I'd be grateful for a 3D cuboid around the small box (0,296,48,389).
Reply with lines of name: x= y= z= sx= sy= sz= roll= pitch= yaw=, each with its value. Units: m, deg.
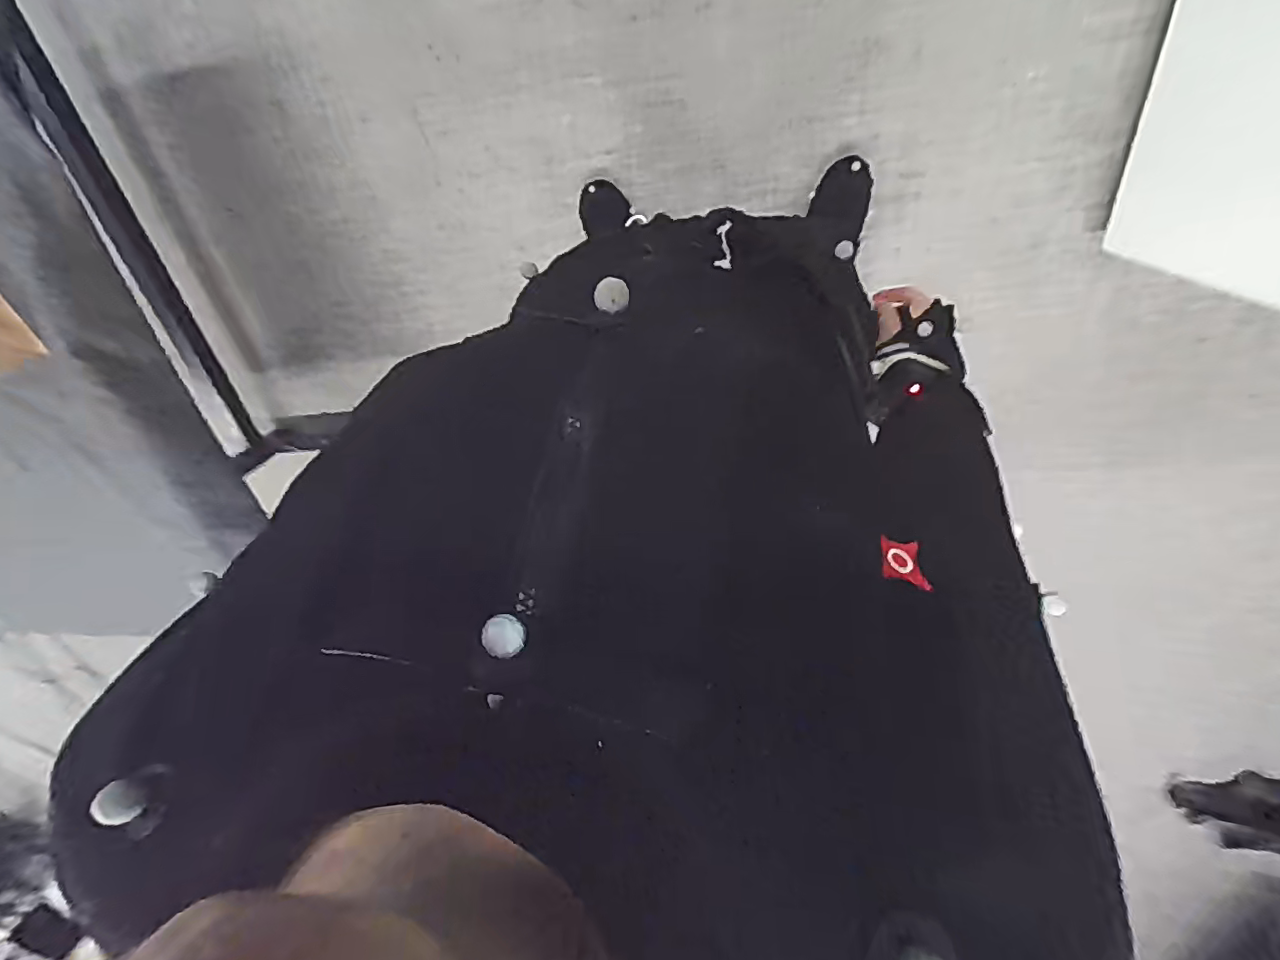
small box: x=-0.844 y=-0.154 z=0.597 sx=0.179 sy=0.176 sz=0.168 roll=-10 pitch=120 yaw=17
